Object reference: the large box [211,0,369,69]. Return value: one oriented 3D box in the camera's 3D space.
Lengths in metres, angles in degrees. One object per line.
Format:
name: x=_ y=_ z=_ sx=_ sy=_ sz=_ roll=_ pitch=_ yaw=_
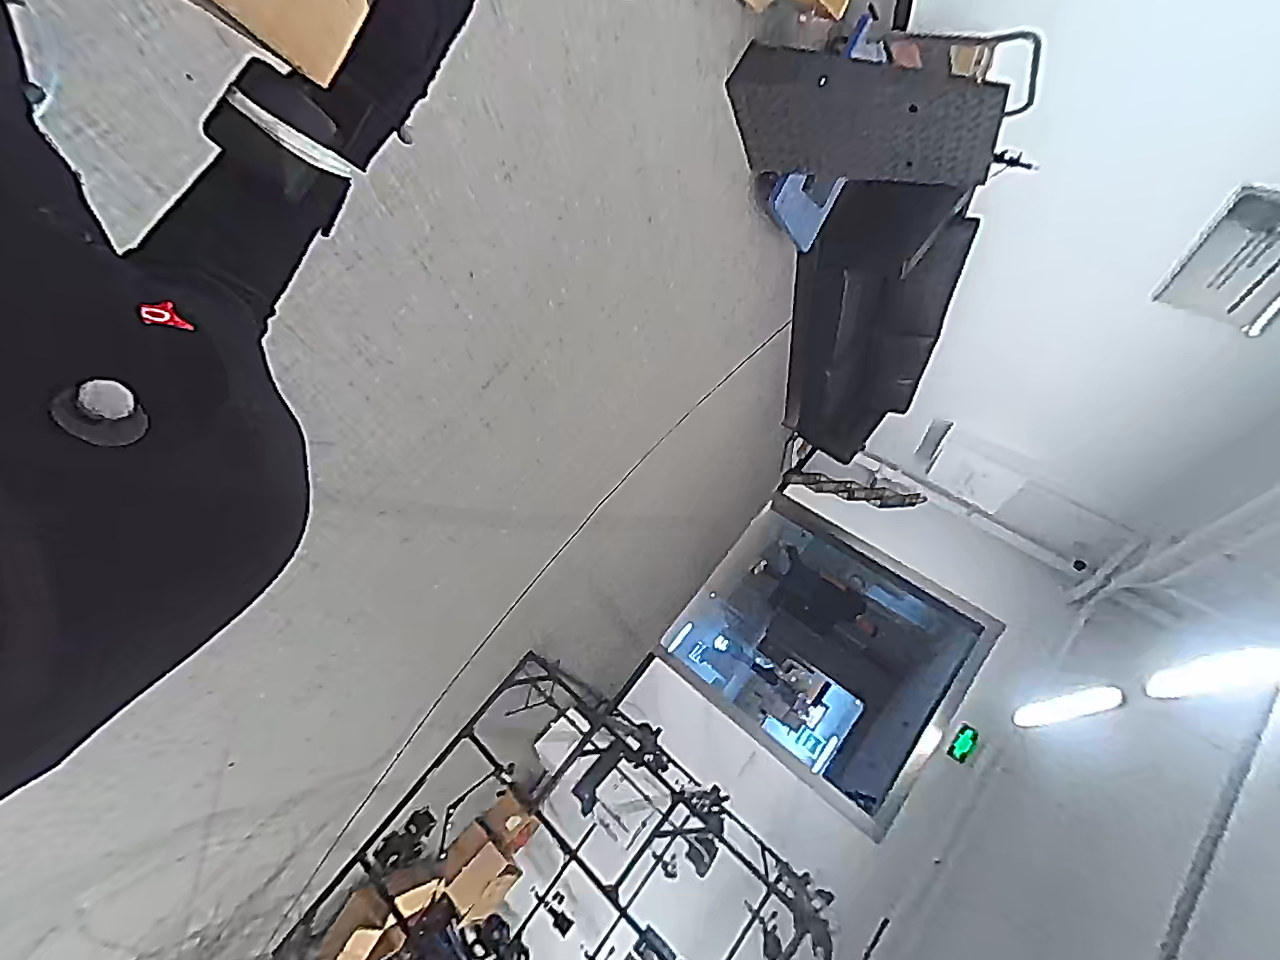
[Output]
large box: x=-0.304 y=-0.494 z=0.213 sx=0.320 sy=0.320 sz=0.408 roll=-52 pitch=153 yaw=11
